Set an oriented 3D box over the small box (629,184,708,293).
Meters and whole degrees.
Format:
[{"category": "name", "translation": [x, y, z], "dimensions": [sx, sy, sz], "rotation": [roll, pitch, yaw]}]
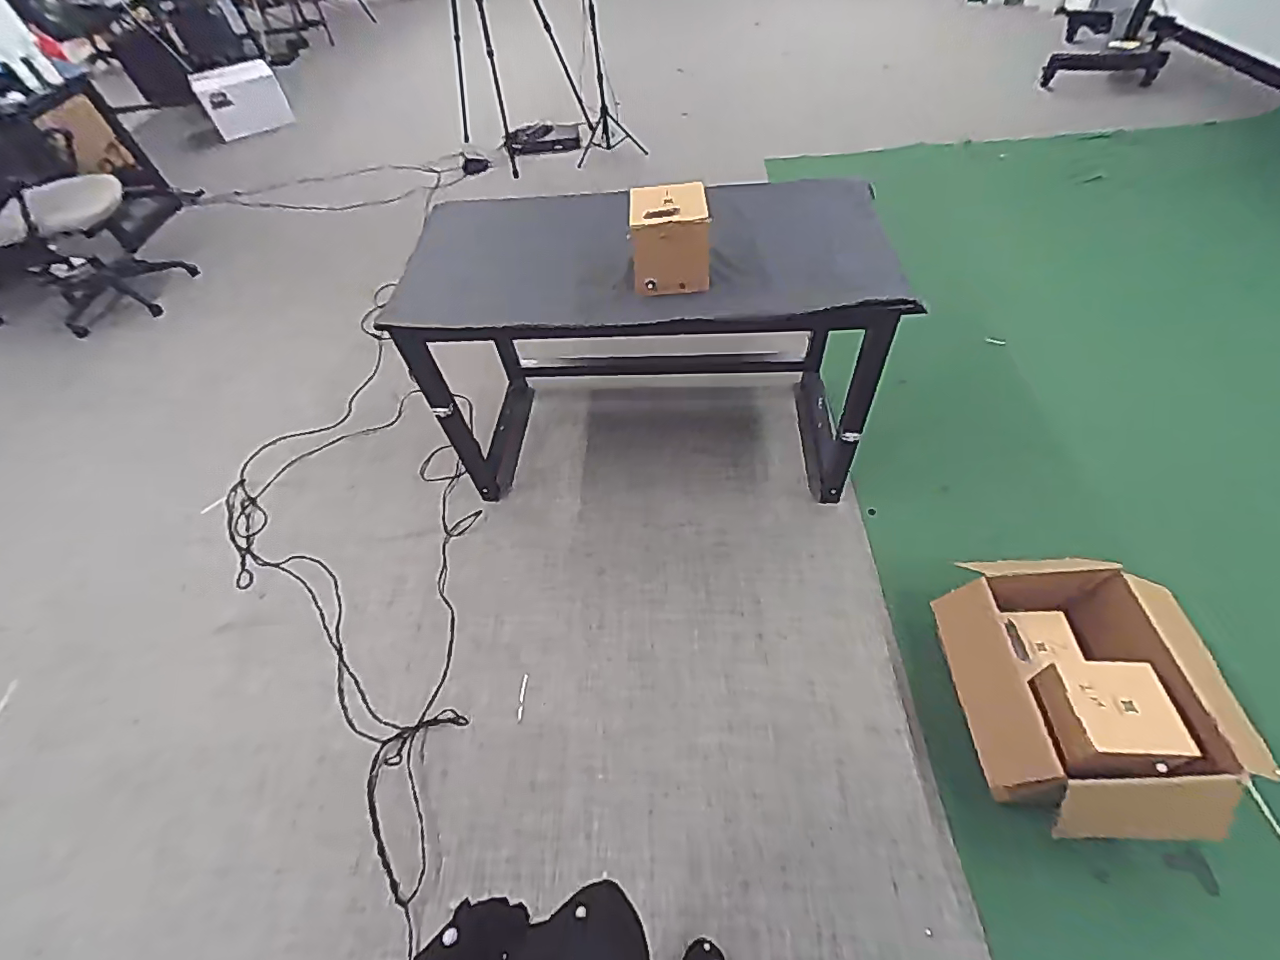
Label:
[{"category": "small box", "translation": [0.067, -0.538, 1.223], "dimensions": [0.168, 0.176, 0.179], "rotation": [-3, 51, 4]}]
